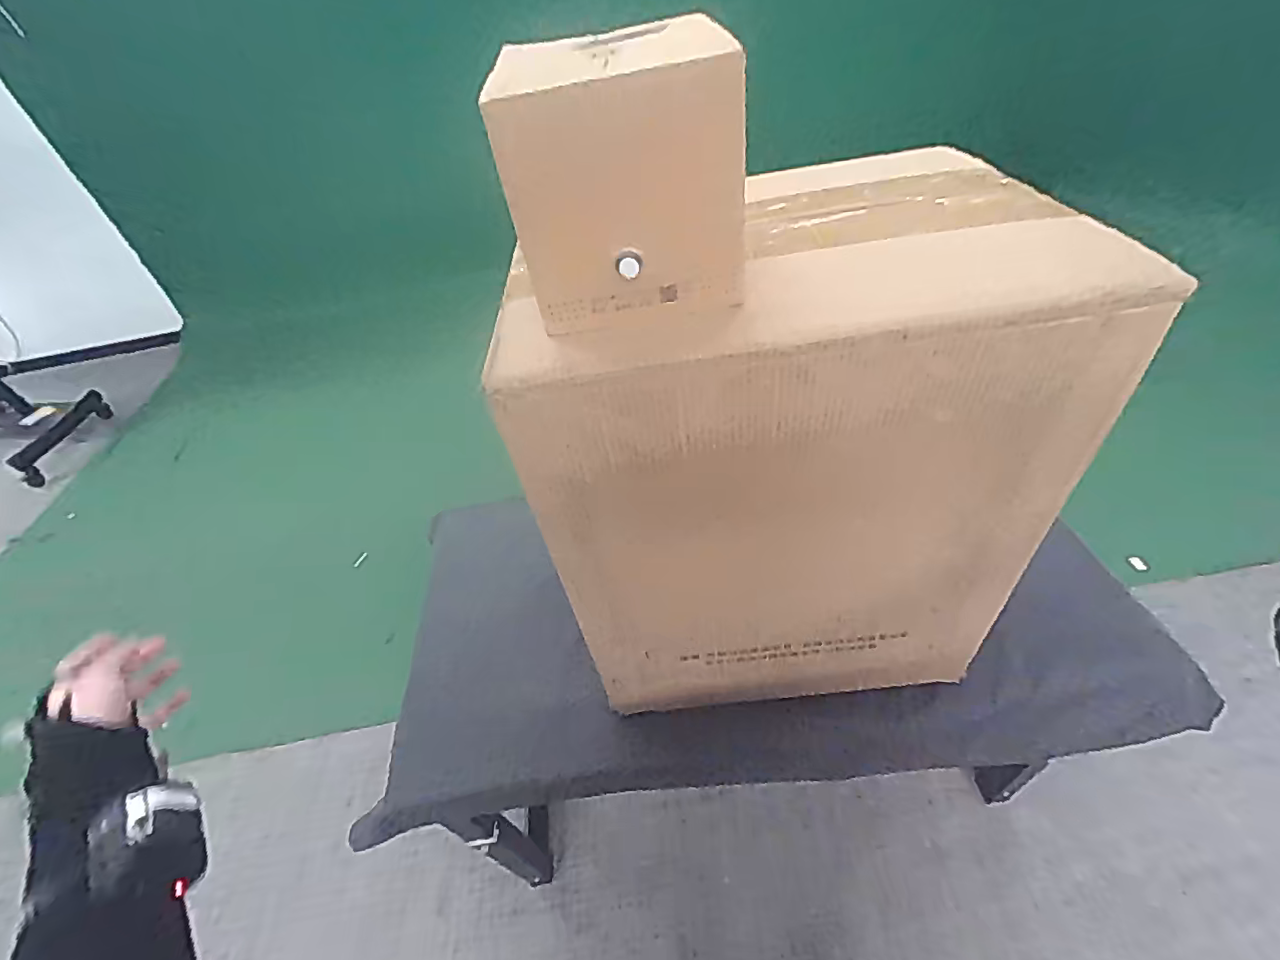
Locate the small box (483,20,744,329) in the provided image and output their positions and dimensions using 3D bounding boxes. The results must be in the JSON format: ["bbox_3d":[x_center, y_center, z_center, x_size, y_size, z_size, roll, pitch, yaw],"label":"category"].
[{"bbox_3d":[-0.012,-0.250,0.448,0.168,0.176,0.179,-8,47,3],"label":"small box"}]
